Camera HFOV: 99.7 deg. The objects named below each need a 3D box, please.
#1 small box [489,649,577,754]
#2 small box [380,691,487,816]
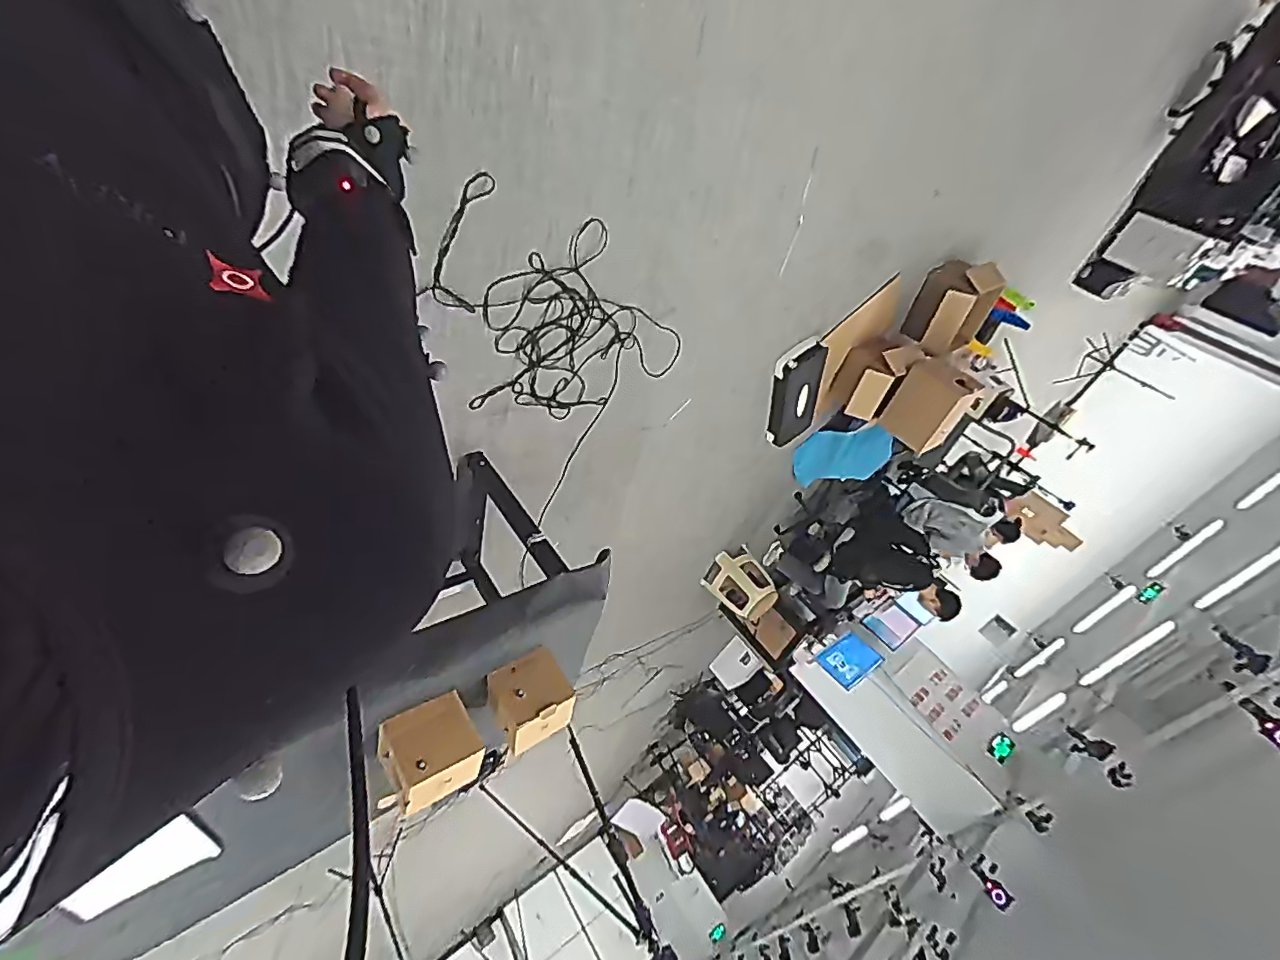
[{"bbox_3d":[-0.287,0.572,1.419,0.168,0.176,0.179,-20,144,-32],"label":"small box"},{"bbox_3d":[-0.483,0.628,1.260,0.179,0.176,0.168,-14,139,-39],"label":"small box"}]
